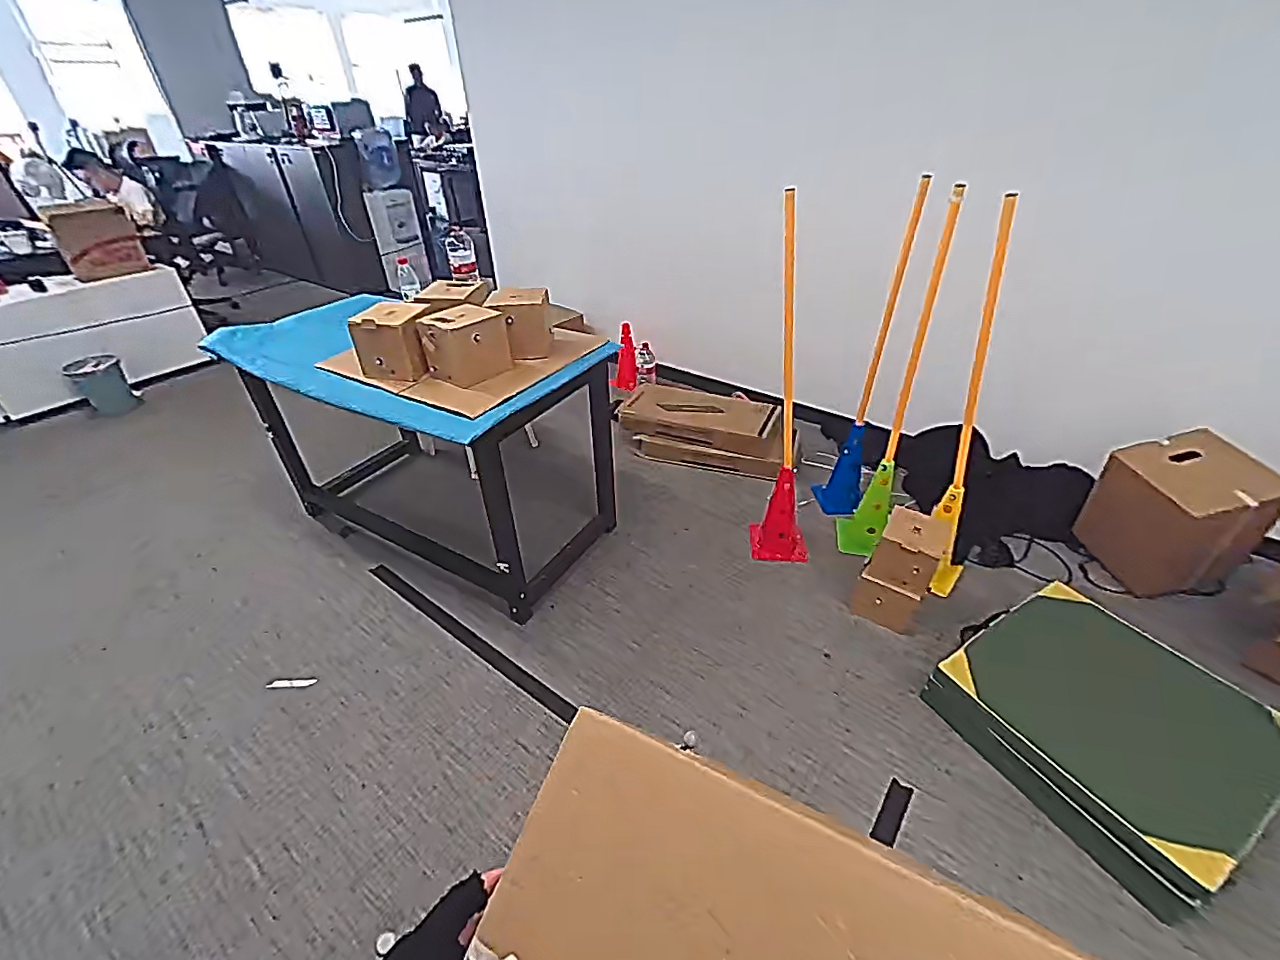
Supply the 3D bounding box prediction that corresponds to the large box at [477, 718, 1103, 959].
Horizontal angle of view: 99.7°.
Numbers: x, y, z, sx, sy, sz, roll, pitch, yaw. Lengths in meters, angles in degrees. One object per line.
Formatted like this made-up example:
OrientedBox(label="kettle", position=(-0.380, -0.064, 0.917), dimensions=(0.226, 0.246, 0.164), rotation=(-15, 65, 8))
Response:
OrientedBox(label="large box", position=(0.110, 0.419, 0.386), dimensions=(0.408, 0.320, 0.320), rotation=(16, 68, 25))
